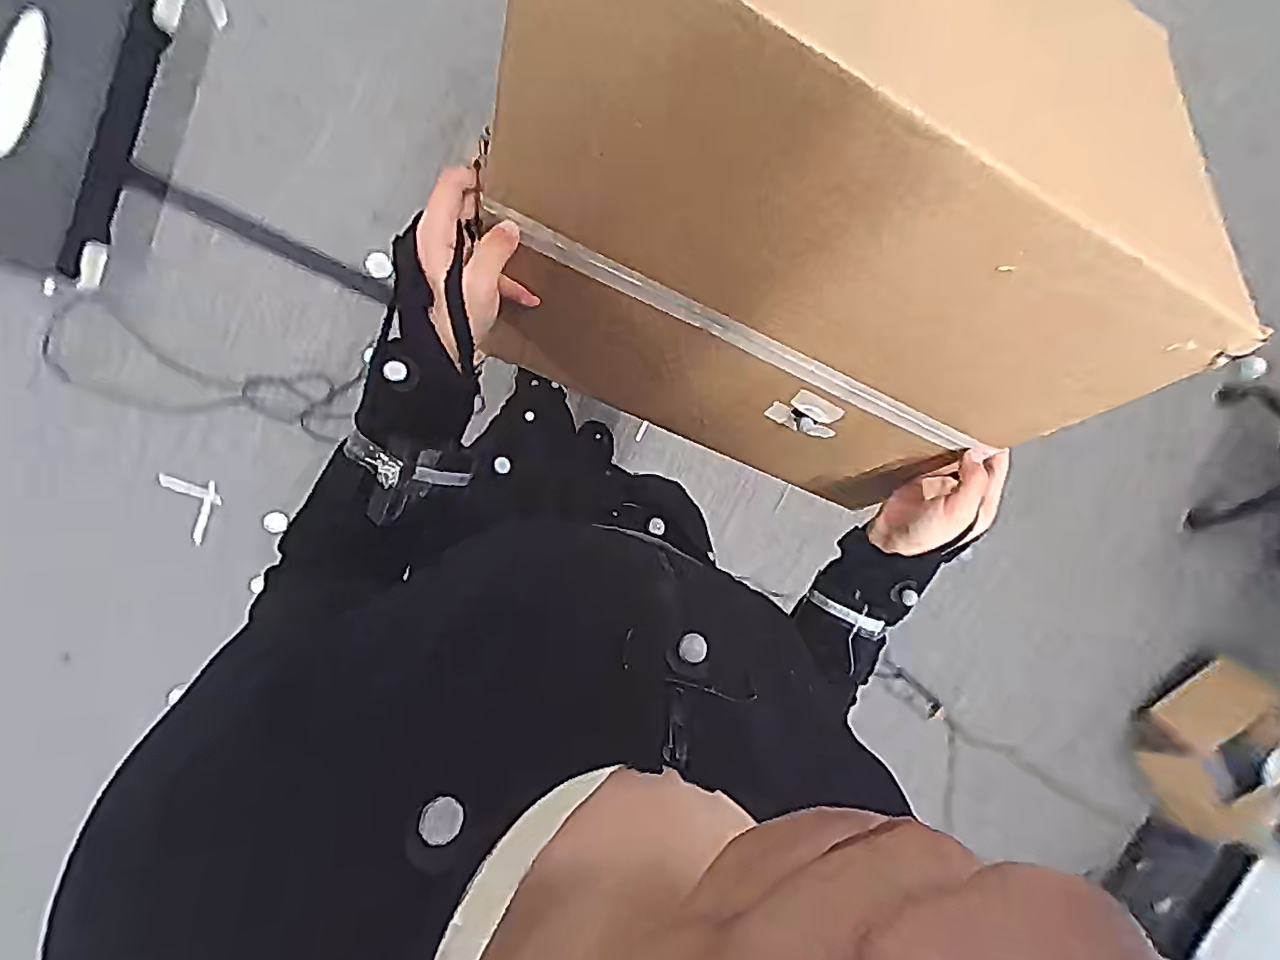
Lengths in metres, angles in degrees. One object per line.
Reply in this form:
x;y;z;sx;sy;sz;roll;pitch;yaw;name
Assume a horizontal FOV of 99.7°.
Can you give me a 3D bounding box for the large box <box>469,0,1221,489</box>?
0.110;-0.237;0.441;0.408;0.320;0.320;20;66;-13;large box
